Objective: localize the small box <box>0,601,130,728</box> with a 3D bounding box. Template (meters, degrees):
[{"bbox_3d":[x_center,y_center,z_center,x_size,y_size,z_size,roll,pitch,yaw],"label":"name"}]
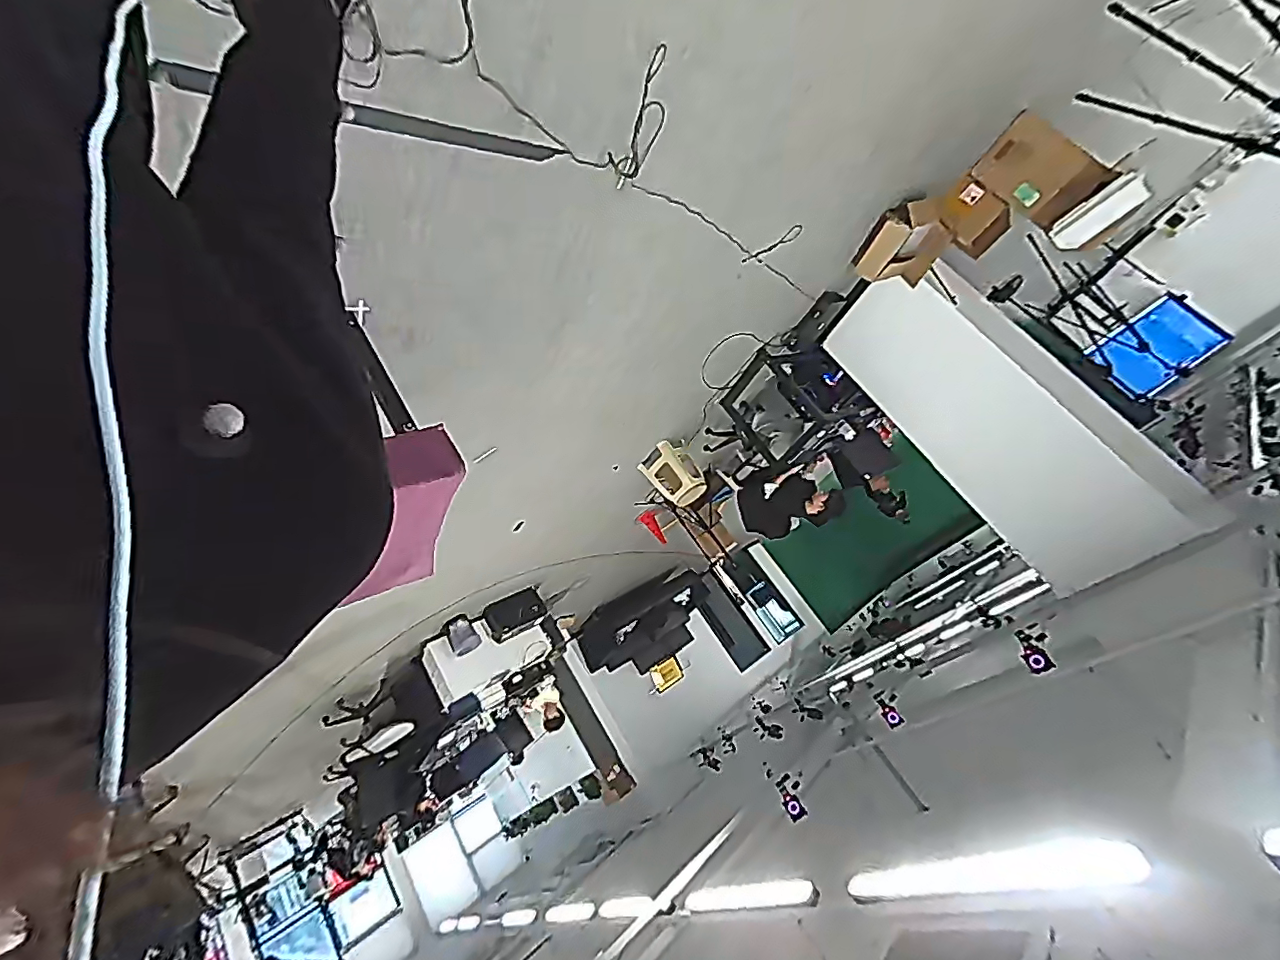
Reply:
[{"bbox_3d":[-1.196,0.370,1.114,0.168,0.176,0.179,-18,155,-41],"label":"small box"}]
